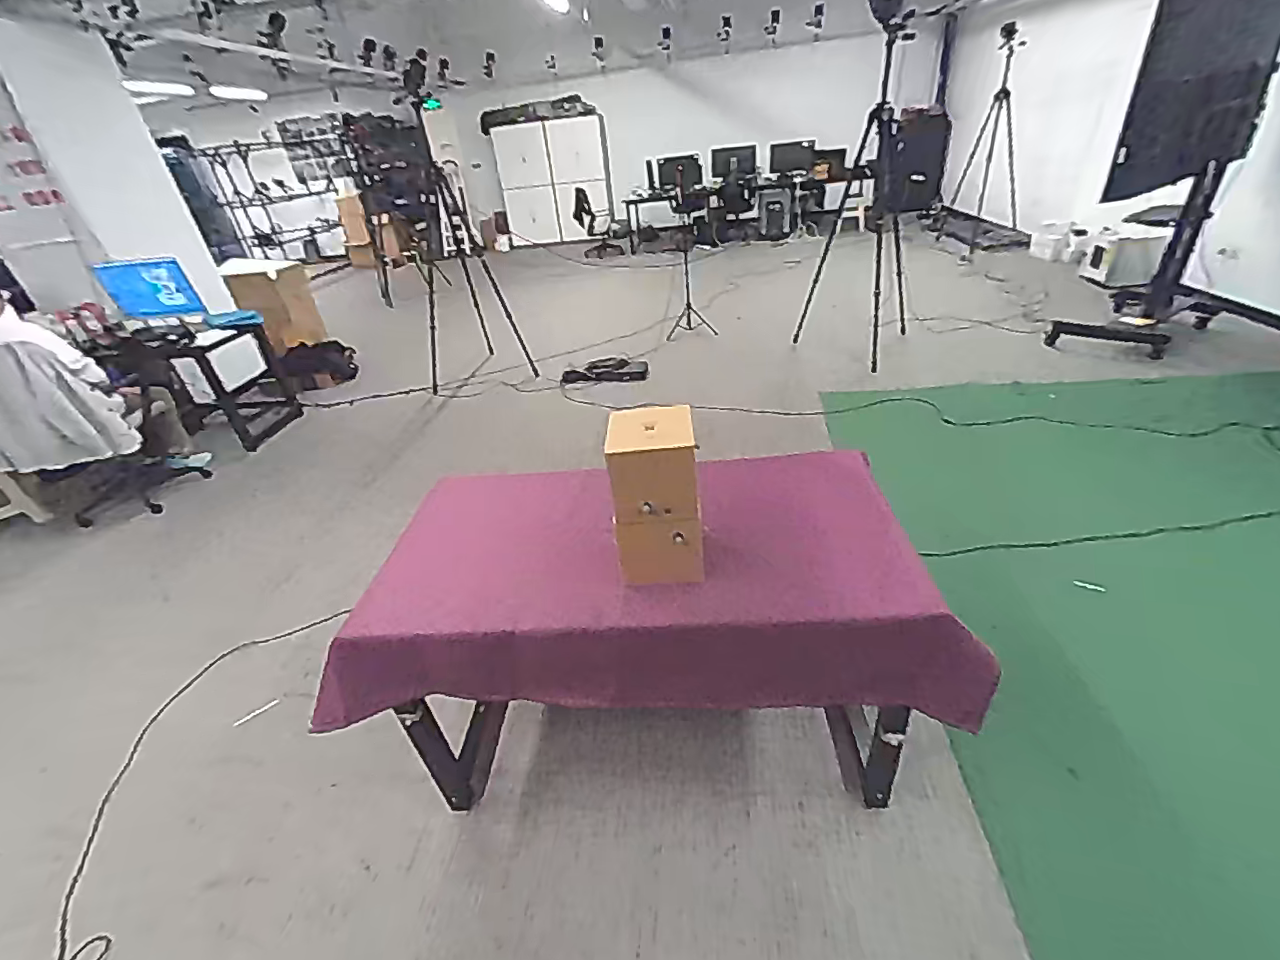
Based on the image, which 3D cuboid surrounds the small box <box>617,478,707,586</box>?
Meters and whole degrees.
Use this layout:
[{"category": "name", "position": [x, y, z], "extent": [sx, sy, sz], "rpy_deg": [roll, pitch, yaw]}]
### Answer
[{"category": "small box", "position": [0.053, 0.112, 1.164], "extent": [0.179, 0.176, 0.168], "rpy_deg": [-4, 32, 6]}]

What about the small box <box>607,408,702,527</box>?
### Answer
[{"category": "small box", "position": [0.034, -0.027, 1.079], "extent": [0.168, 0.176, 0.179], "rpy_deg": [-5, 33, 5]}]
